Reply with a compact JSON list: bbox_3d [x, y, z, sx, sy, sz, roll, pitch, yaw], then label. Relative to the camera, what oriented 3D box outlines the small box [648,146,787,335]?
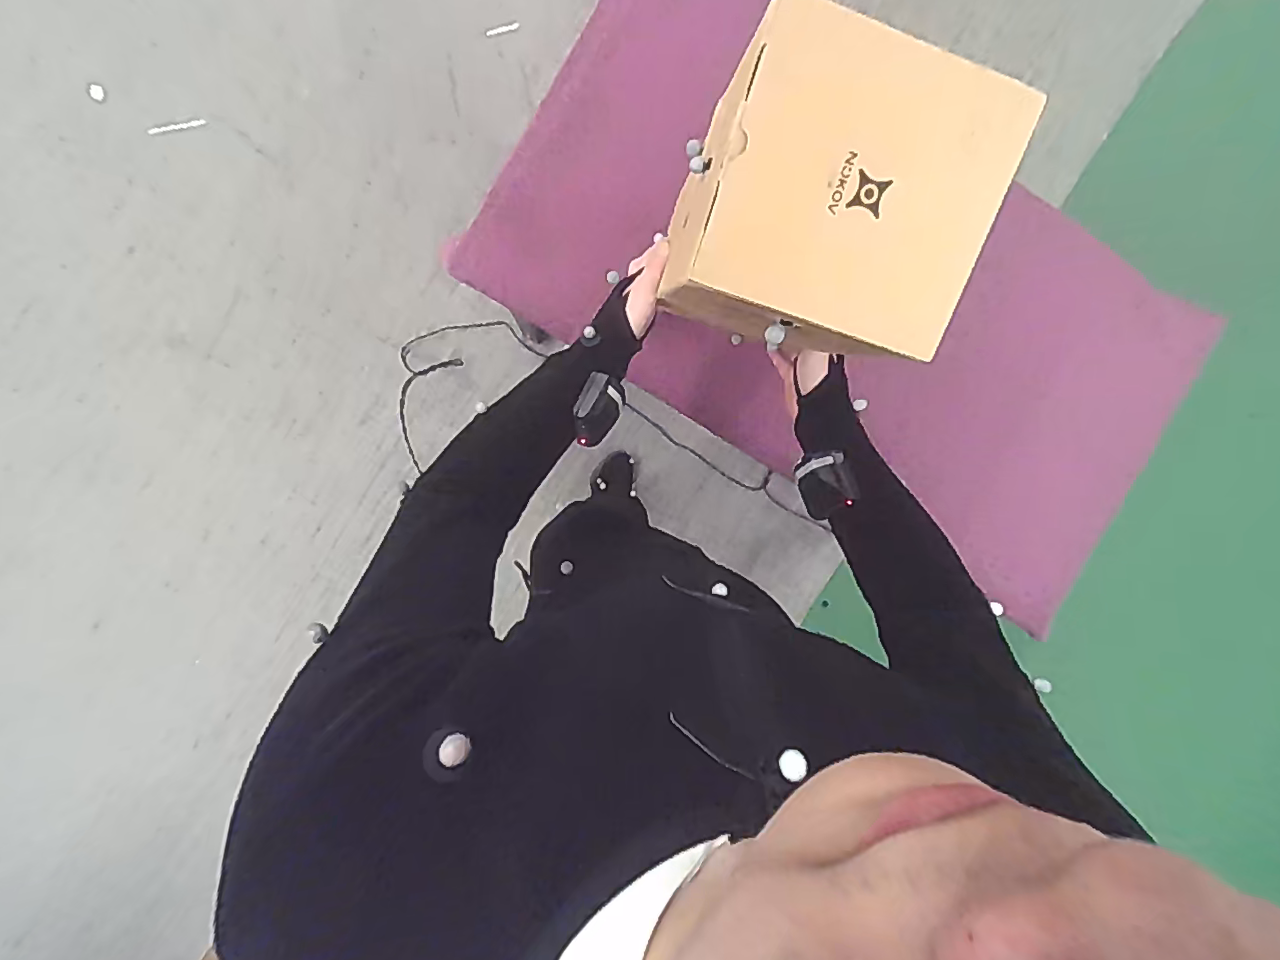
[{"bbox_3d":[0.120,-0.304,0.721,0.179,0.176,0.168,18,104,-7],"label":"small box"}]

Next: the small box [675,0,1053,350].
[{"bbox_3d":[0.138,-0.208,0.409,0.179,0.176,0.168,16,105,-7],"label":"small box"}]
